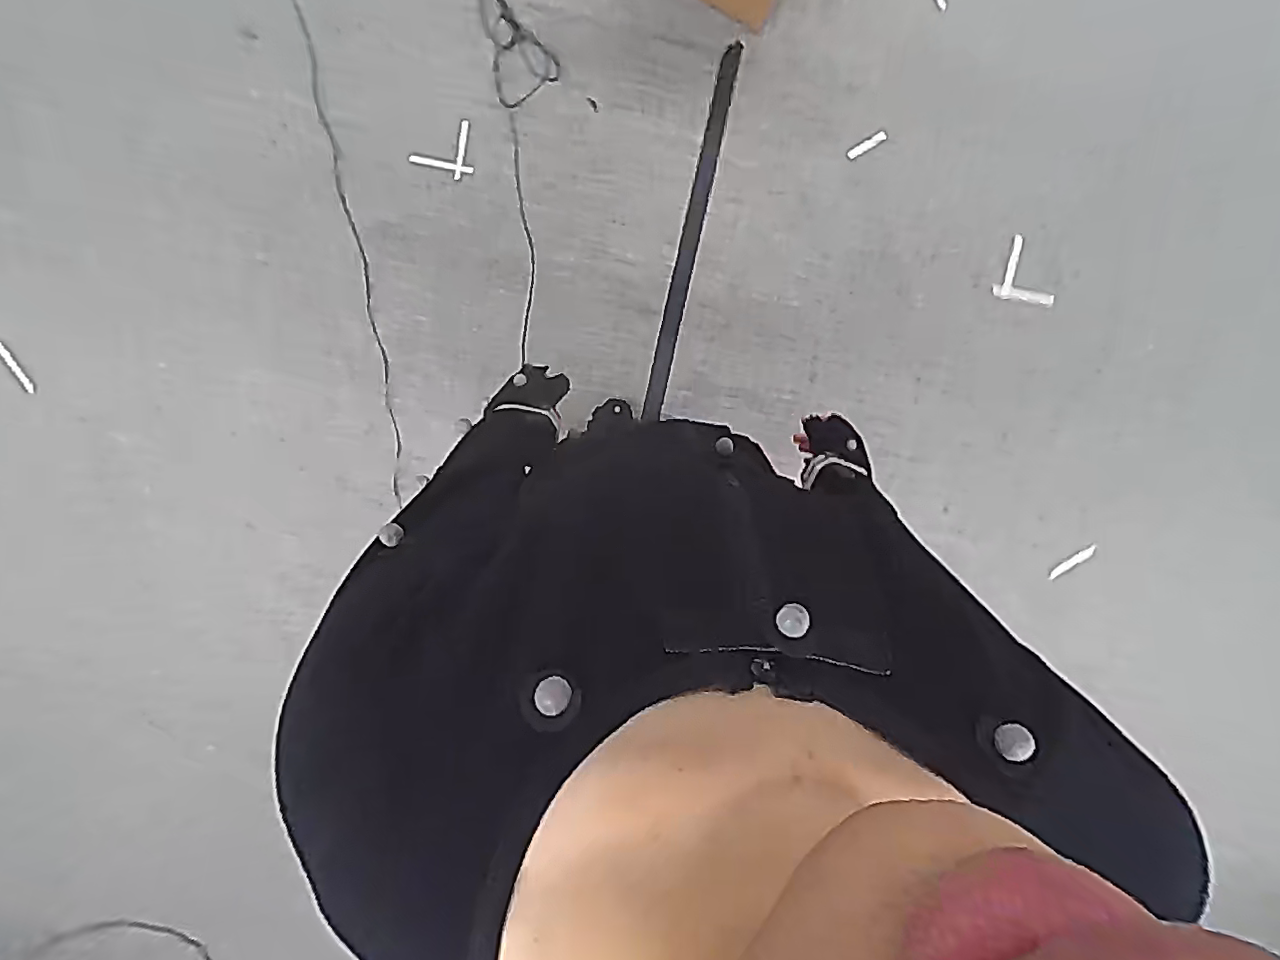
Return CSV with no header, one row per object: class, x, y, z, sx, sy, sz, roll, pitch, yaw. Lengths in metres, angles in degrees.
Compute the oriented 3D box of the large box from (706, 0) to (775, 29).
large box,0.188,-1.295,1.147,0.408,0.320,0.320,26,97,-6
